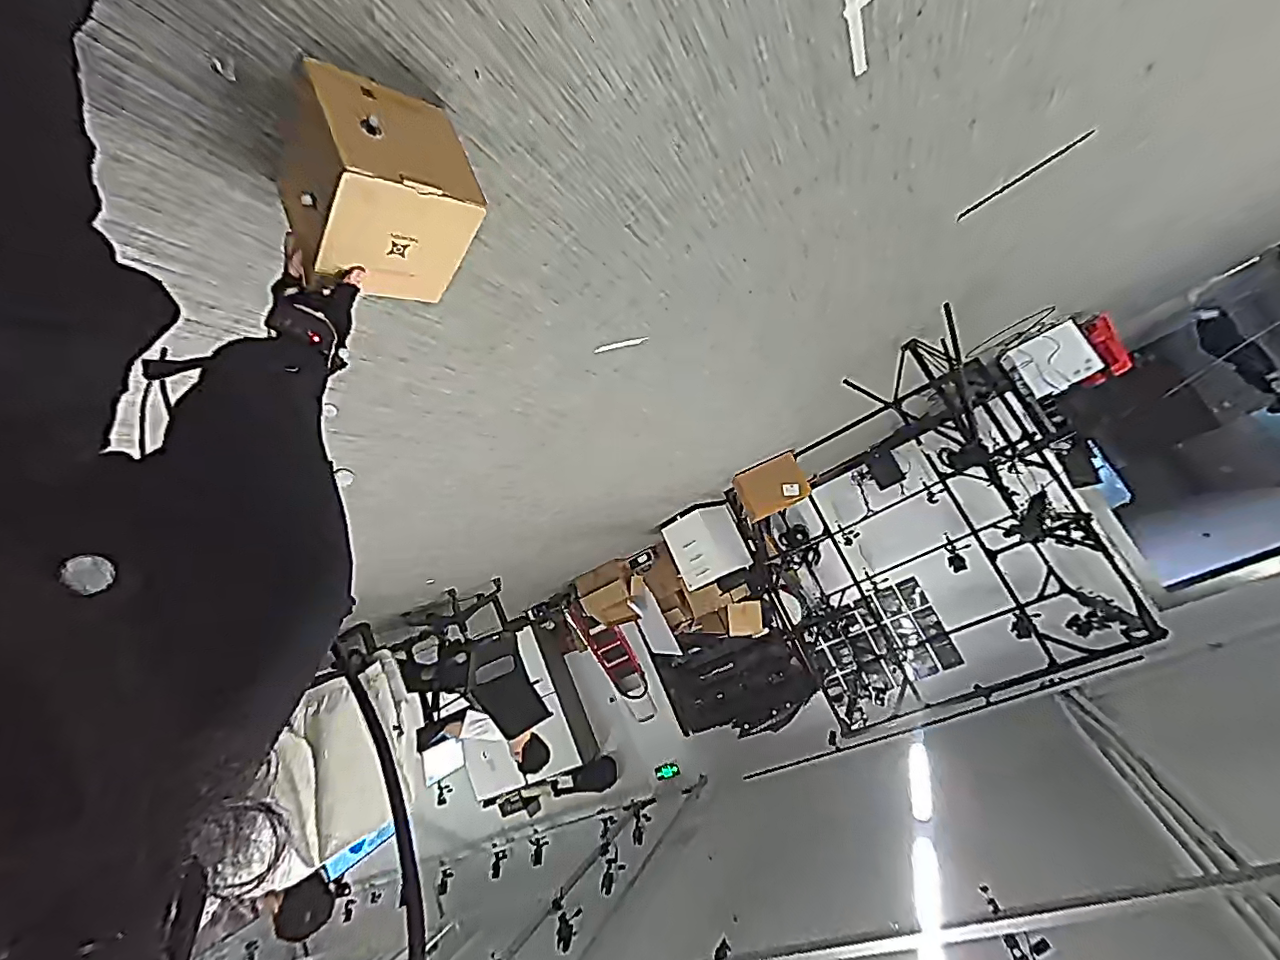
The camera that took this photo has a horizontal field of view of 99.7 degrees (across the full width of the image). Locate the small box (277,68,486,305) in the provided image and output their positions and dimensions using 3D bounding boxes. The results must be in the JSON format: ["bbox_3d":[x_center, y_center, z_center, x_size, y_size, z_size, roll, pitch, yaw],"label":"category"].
[{"bbox_3d":[-0.323,-0.347,0.665,0.168,0.176,0.179,-9,160,-46],"label":"small box"}]
